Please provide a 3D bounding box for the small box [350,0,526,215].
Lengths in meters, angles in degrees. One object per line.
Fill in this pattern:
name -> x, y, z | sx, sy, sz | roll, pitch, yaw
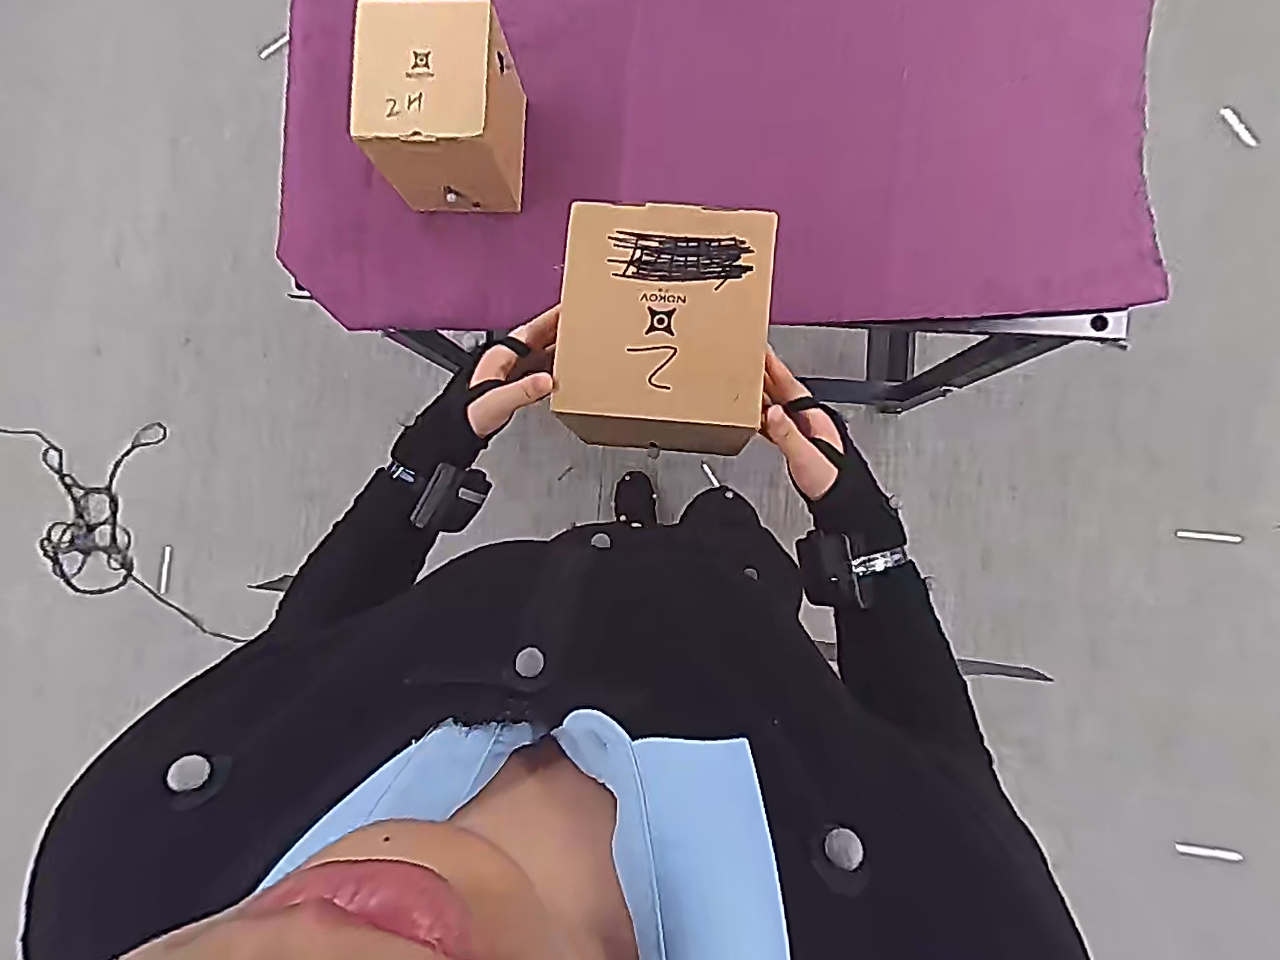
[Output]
small box -> -0.255, -0.484, 0.720 | 0.168, 0.176, 0.179 | 2, 88, 3
